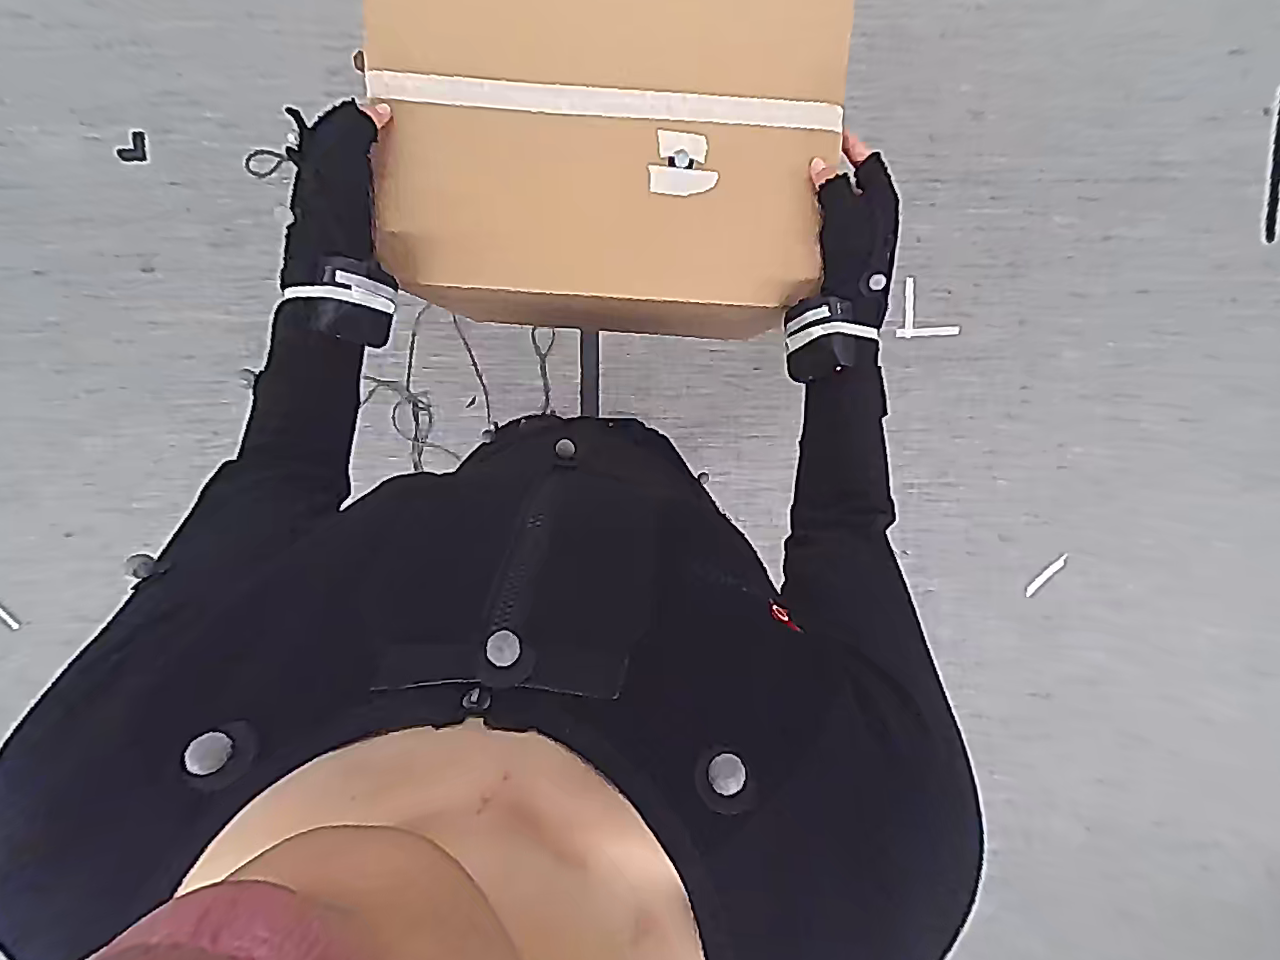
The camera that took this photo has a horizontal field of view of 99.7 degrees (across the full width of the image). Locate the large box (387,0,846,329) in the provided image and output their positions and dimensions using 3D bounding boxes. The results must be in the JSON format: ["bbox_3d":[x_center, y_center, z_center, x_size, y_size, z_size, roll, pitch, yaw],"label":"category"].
[{"bbox_3d":[-0.028,-0.356,0.627,0.408,0.320,0.320,3,101,-2],"label":"large box"}]
